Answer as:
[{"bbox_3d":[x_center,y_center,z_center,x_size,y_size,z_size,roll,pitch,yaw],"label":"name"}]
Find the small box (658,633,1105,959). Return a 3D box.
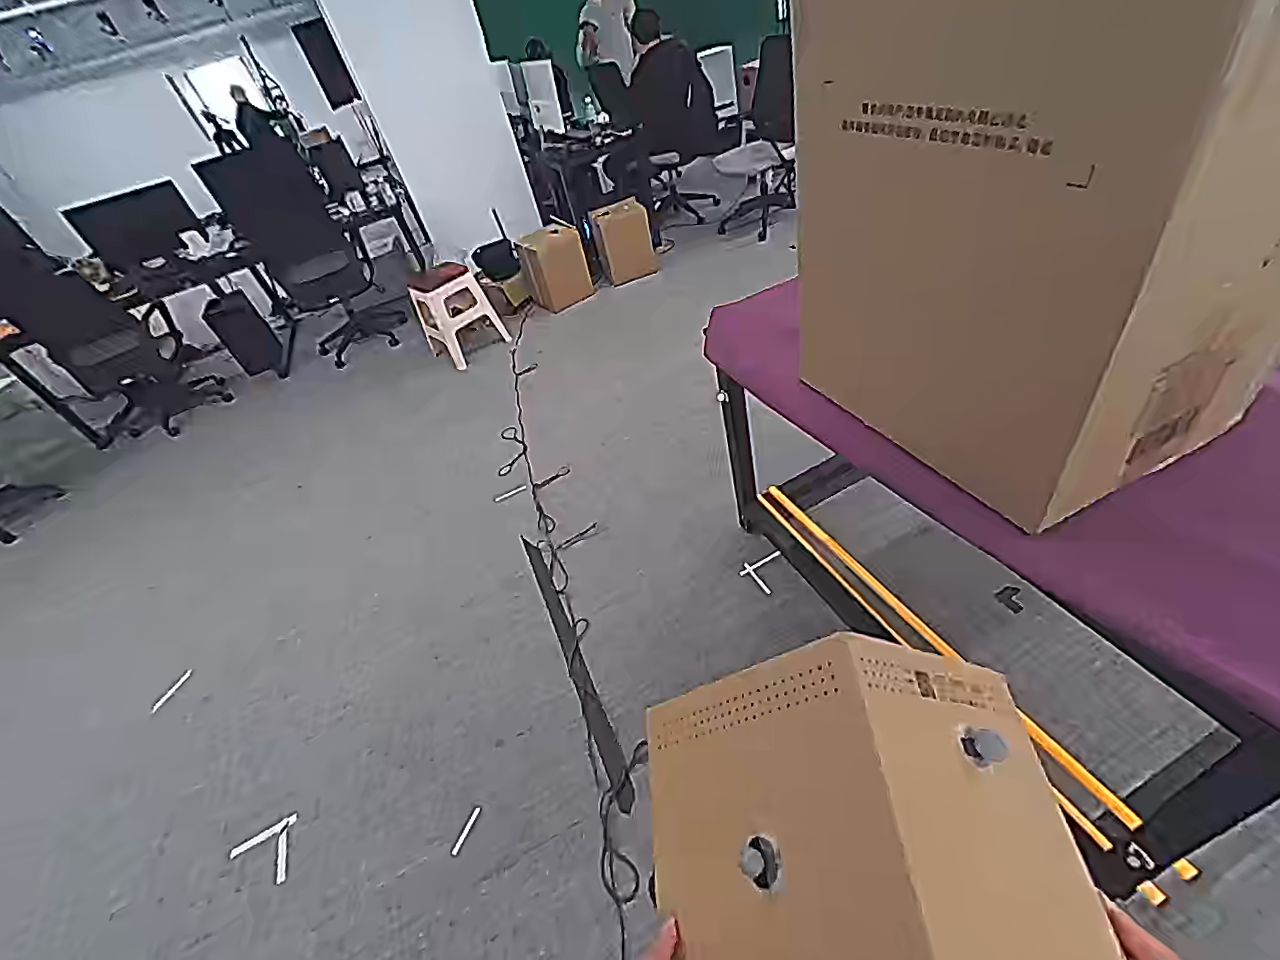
[{"bbox_3d":[0.123,0.209,0.322,0.179,0.168,0.176,-42,40,39],"label":"small box"}]
